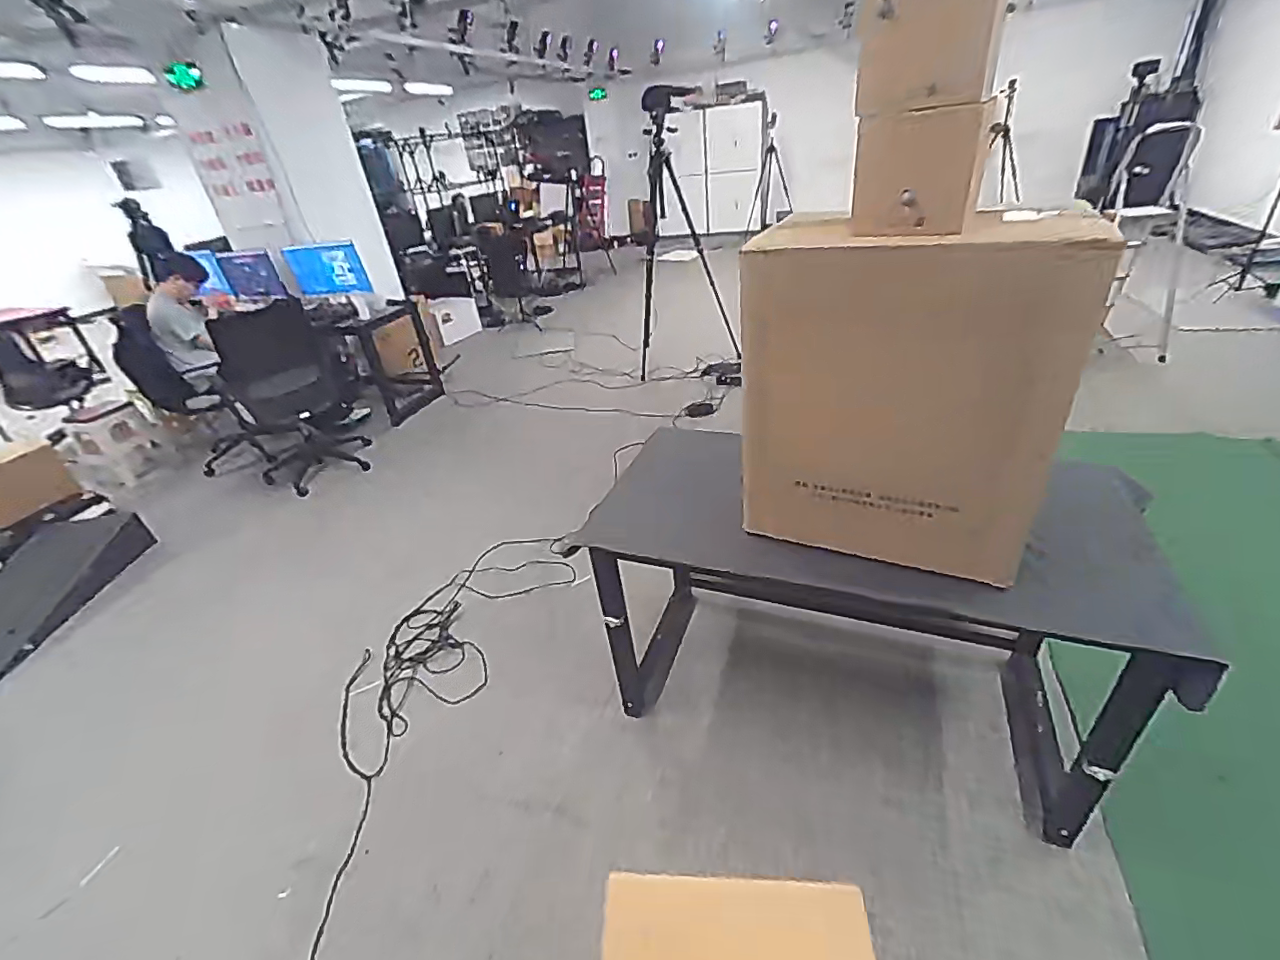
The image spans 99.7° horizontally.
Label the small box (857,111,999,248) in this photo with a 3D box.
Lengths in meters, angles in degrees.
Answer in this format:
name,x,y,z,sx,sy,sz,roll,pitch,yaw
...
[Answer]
name,x,y,z,sx,sy,sz,roll,pitch,yaw
small box,0.462,-0.488,0.880,0.168,0.176,0.179,14,40,30
